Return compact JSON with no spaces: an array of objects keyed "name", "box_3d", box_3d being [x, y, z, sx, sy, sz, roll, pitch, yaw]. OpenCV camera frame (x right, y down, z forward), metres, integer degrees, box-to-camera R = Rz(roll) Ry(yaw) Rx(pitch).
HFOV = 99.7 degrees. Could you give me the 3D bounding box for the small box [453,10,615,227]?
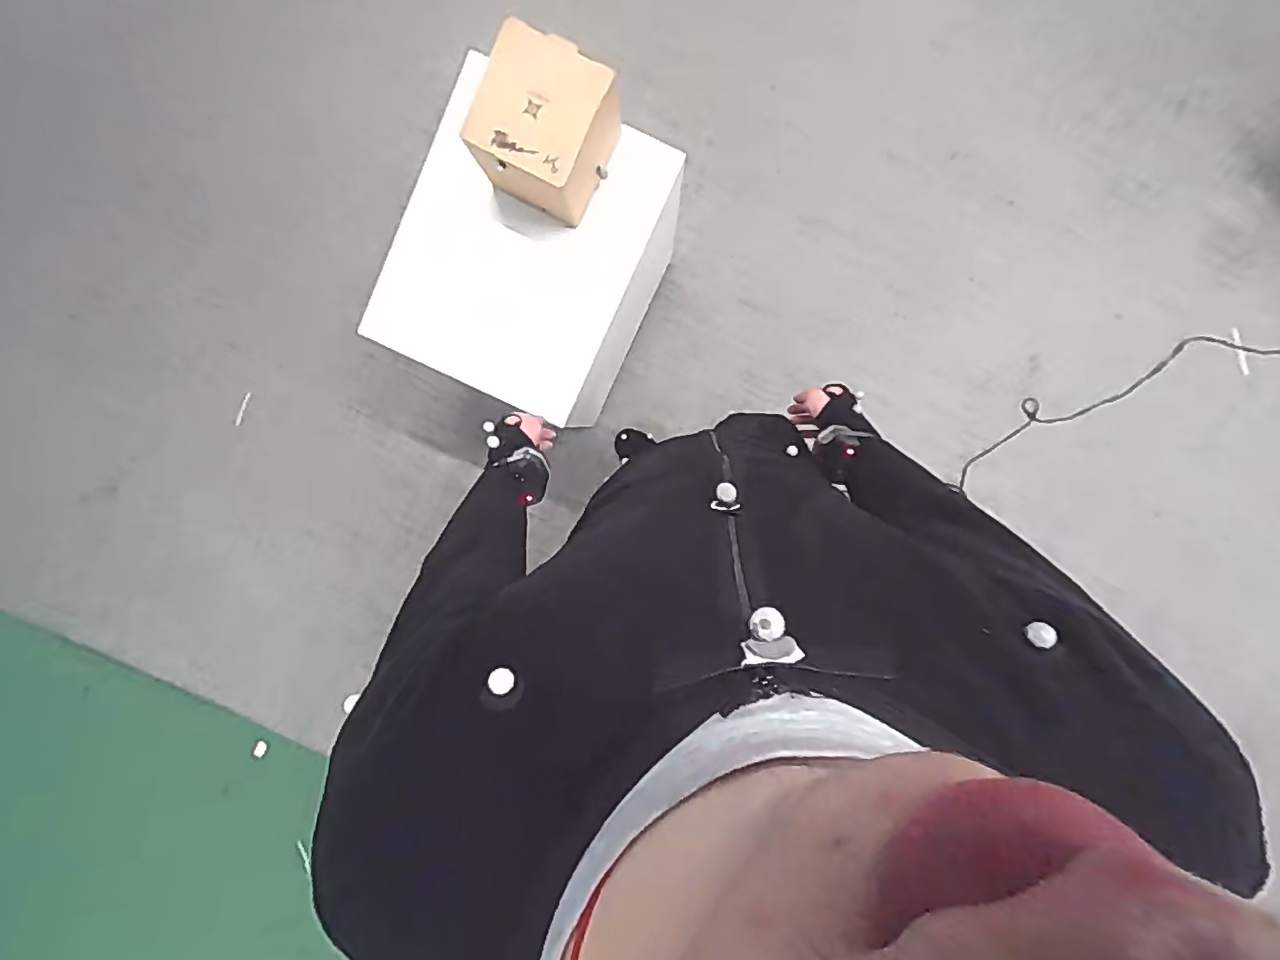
[{"name":"small box","box_3d":[-0.146,-0.516,0.802,0.168,0.176,0.179,25,94,-3]}]
